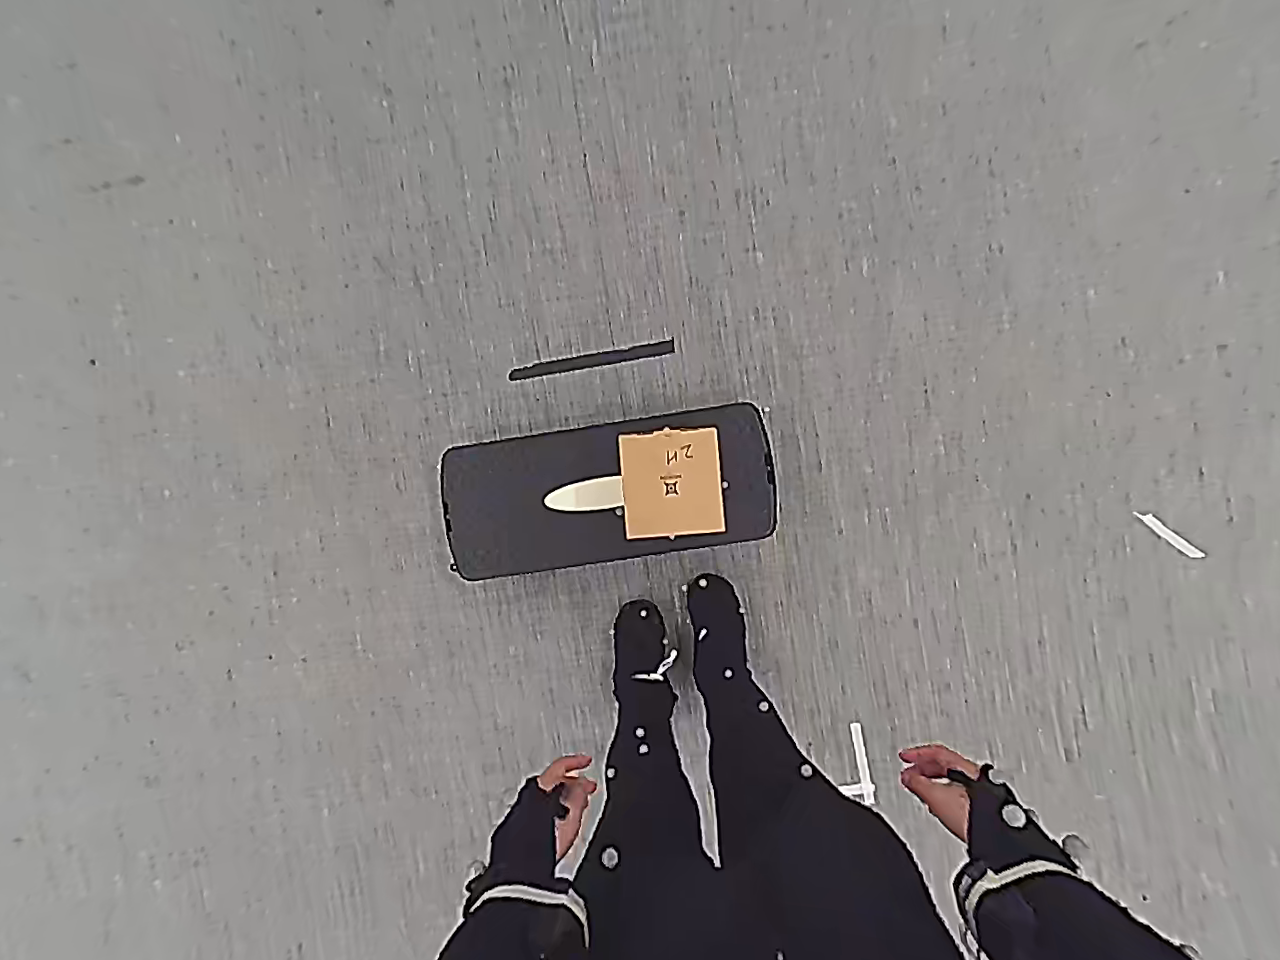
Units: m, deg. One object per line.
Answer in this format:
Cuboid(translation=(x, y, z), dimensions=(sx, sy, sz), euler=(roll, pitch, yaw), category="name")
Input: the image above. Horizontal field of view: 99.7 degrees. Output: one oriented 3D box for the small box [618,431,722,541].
Cuboid(translation=(0.054, 0.009, 0.973), dimensions=(0.168, 0.176, 0.179), euler=(-4, 89, 2), category="small box")
